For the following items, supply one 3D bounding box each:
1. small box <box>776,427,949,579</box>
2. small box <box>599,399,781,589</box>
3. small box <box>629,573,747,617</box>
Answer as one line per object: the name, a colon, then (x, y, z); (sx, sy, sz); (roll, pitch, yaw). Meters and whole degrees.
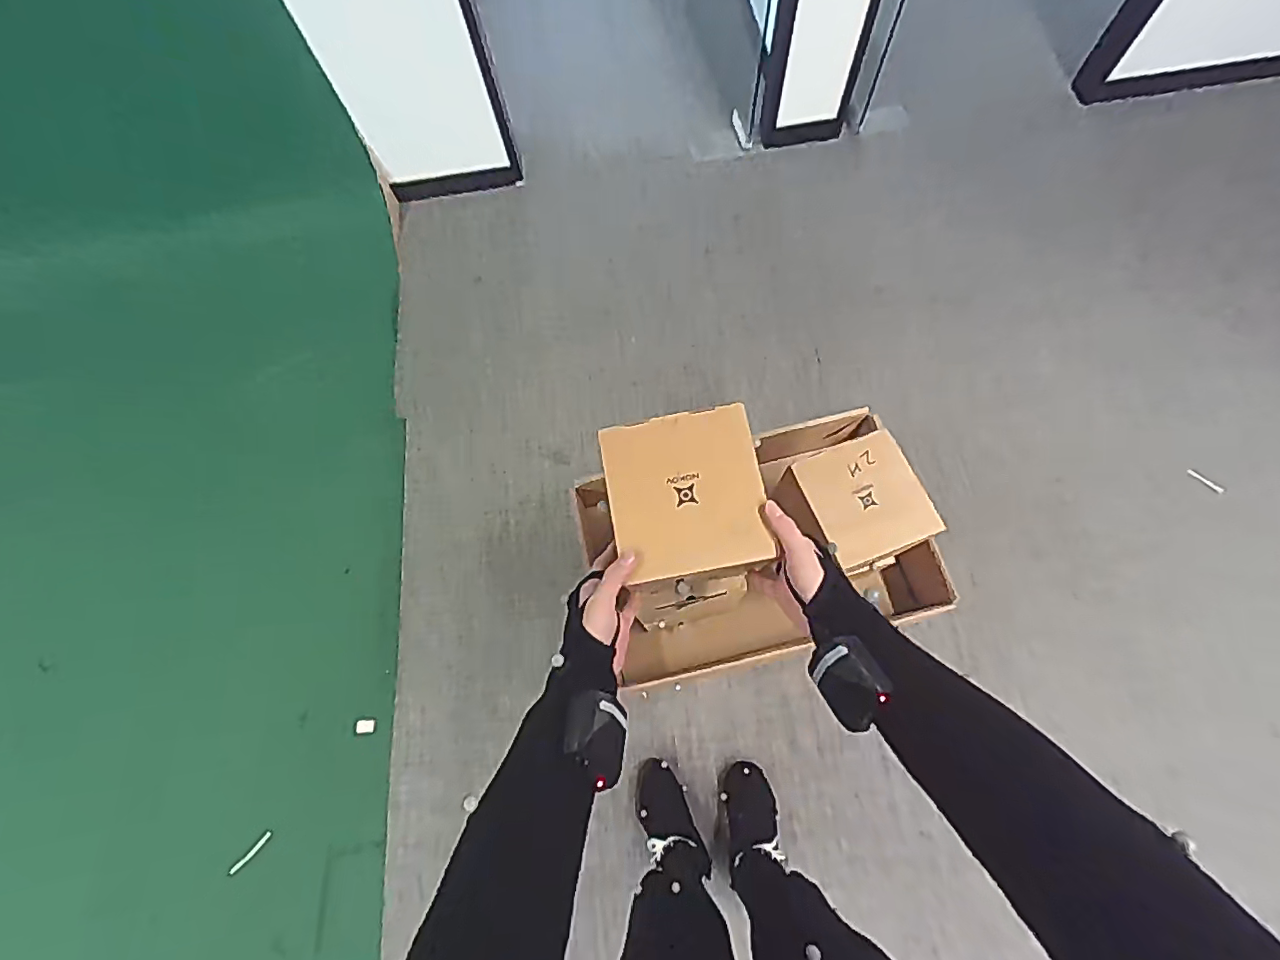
small box: (0.336, 0.047, 0.855); (0.168, 0.176, 0.179); (-19, 71, -5)
small box: (0.055, 0.029, 0.640); (0.168, 0.176, 0.179); (-11, 73, 1)
small box: (0.063, 0.113, 0.850); (0.168, 0.176, 0.179); (-12, 69, 0)
